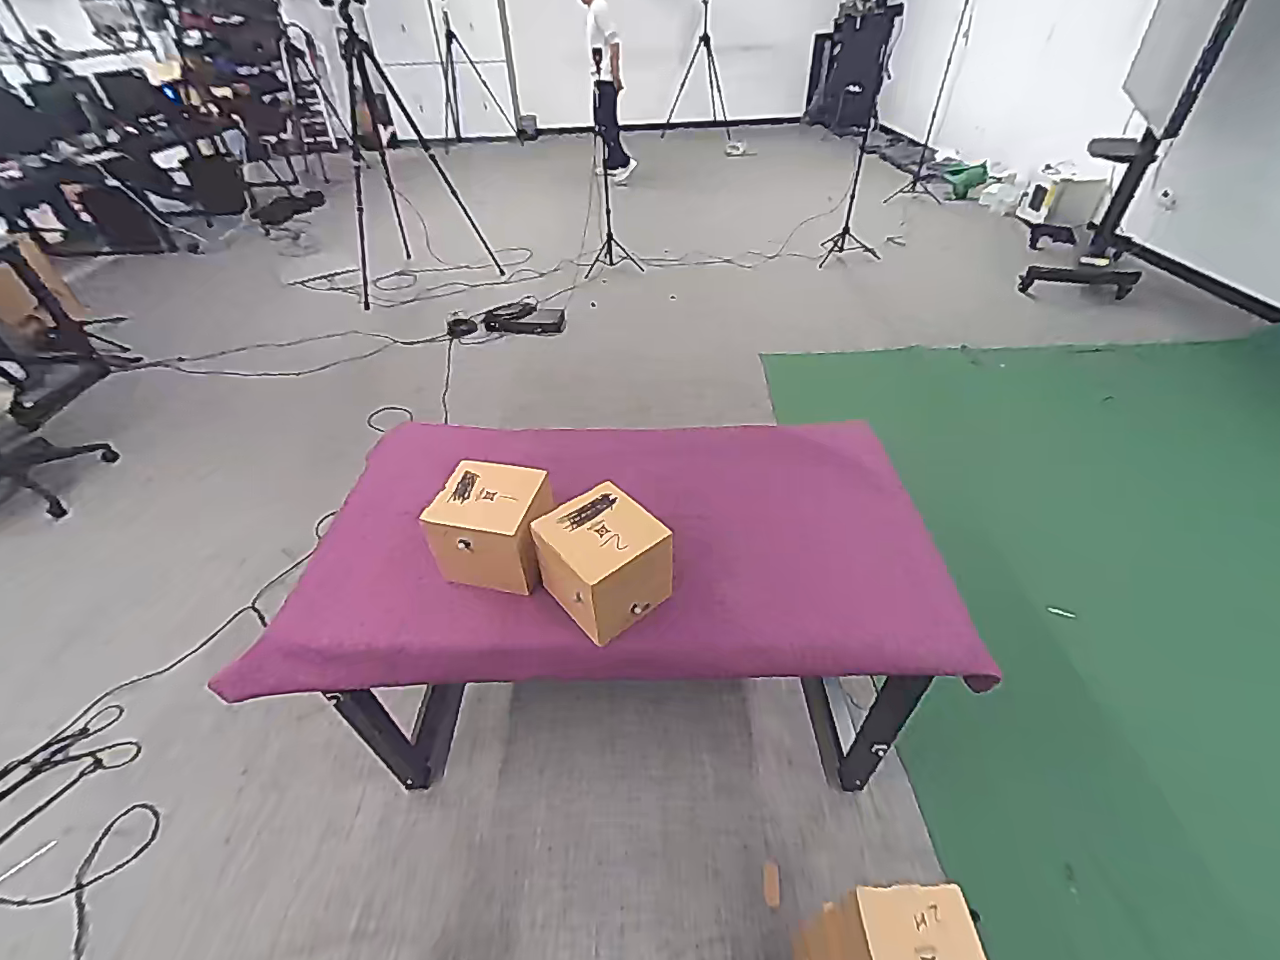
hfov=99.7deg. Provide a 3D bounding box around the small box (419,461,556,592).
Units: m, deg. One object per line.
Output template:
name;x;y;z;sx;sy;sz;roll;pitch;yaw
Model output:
small box;-0.271;0.088;1.004;0.179;0.176;0.168;8;43;10

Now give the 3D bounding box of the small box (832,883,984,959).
small box;0.415;0.748;0.835;0.168;0.176;0.179;-2;43;0
